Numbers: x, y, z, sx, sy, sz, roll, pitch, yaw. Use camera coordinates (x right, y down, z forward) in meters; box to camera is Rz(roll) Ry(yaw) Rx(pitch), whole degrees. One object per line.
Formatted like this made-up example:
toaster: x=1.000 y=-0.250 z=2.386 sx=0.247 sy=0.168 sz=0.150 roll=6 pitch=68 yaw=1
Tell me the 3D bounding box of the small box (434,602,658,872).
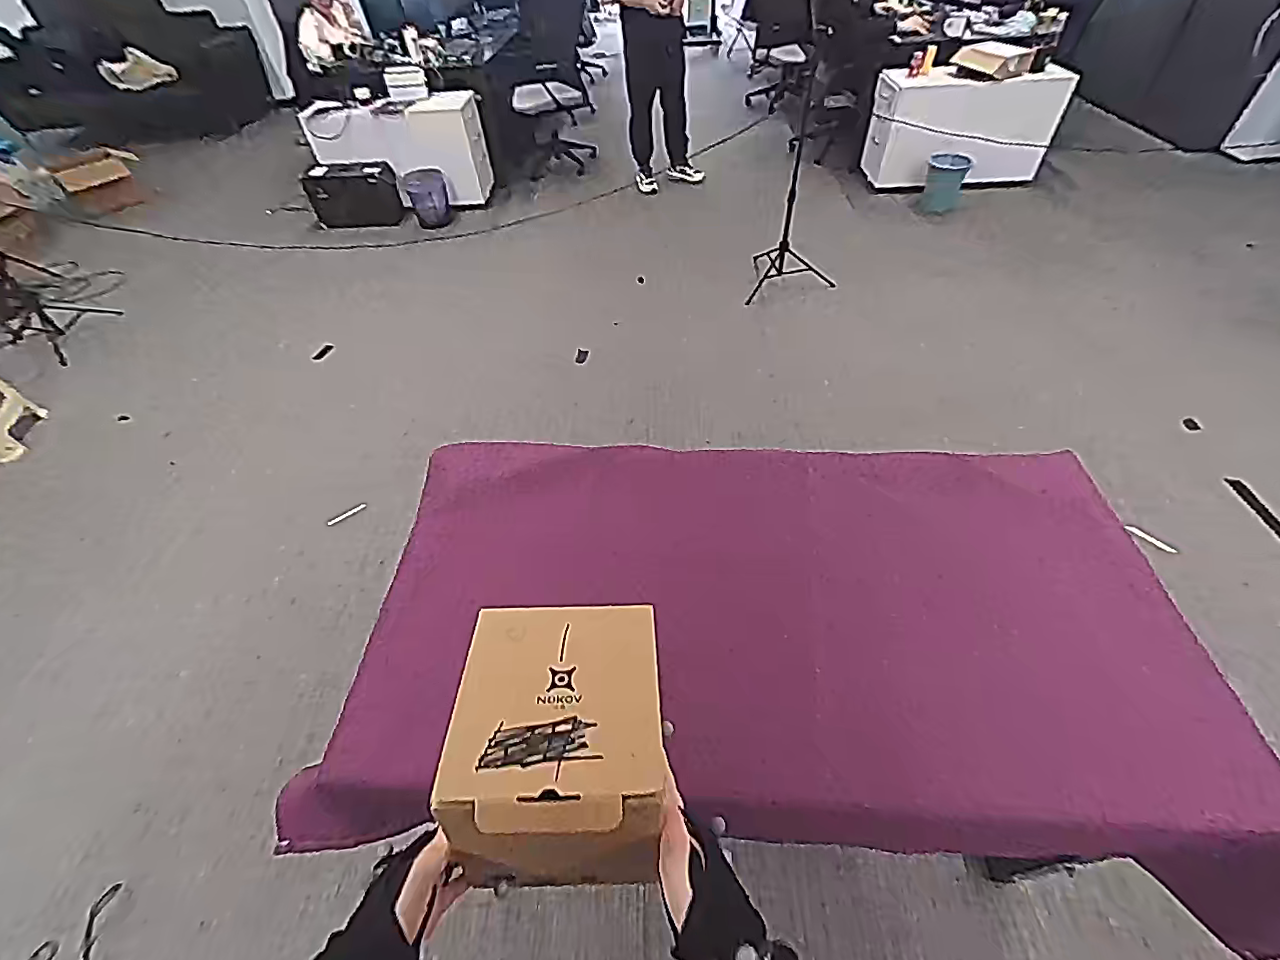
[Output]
small box: x=-0.067 y=0.235 z=0.498 sx=0.168 sy=0.176 sz=0.179 roll=0 pitch=36 yaw=-1
